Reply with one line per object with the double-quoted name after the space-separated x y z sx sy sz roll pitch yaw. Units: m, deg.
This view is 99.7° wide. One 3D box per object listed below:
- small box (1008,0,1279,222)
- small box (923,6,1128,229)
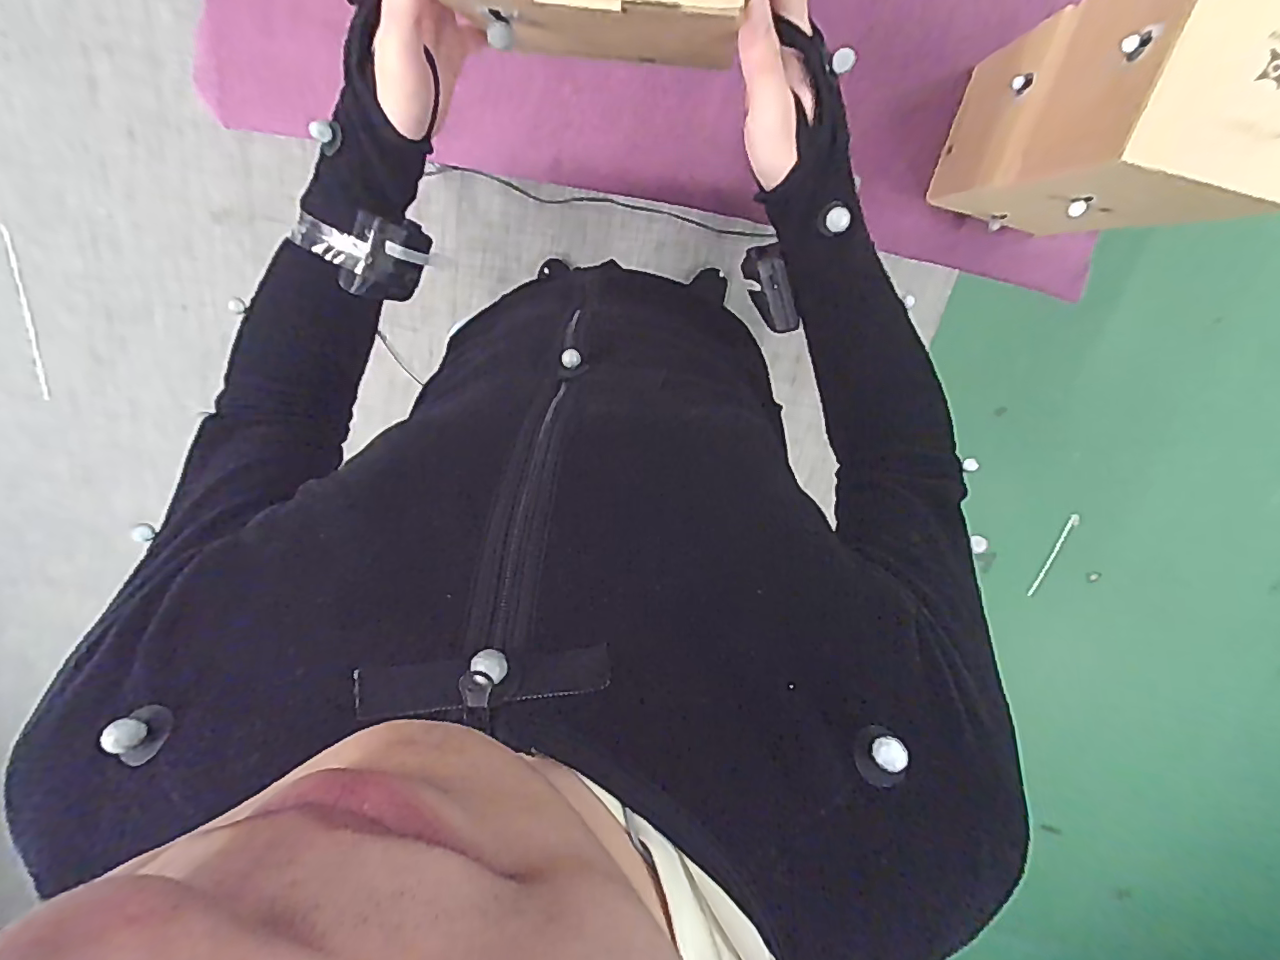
0.489 -0.354 0.496 0.168 0.176 0.179 14 112 -3 "small box"
0.487 -0.410 0.649 0.179 0.176 0.168 13 110 -5 "small box"
